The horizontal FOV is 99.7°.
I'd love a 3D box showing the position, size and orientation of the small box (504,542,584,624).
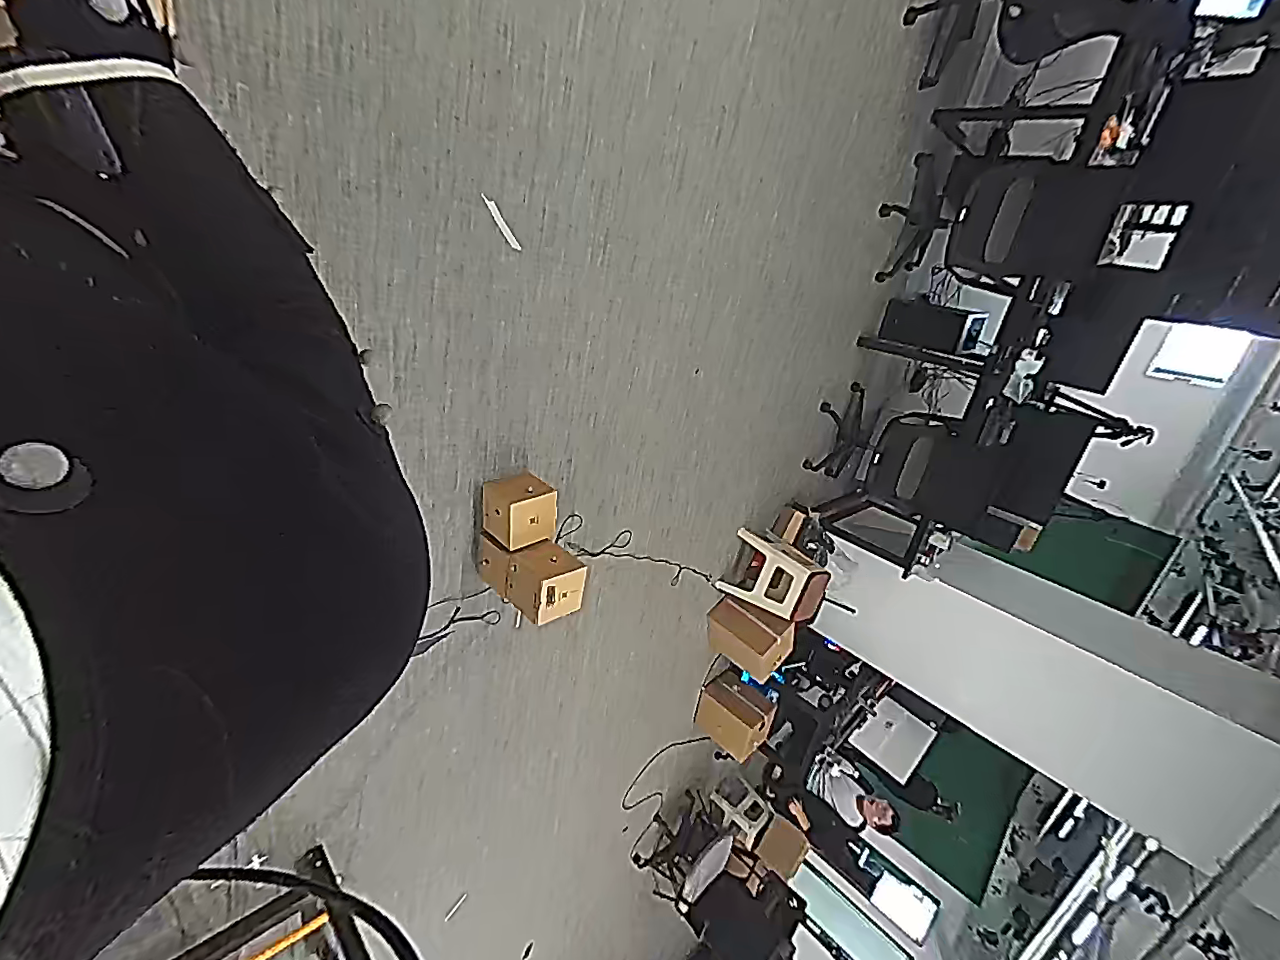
[{"bbox_3d":[-0.305,0.316,1.695,0.179,0.176,0.168,-12,121,-46],"label":"small box"}]
